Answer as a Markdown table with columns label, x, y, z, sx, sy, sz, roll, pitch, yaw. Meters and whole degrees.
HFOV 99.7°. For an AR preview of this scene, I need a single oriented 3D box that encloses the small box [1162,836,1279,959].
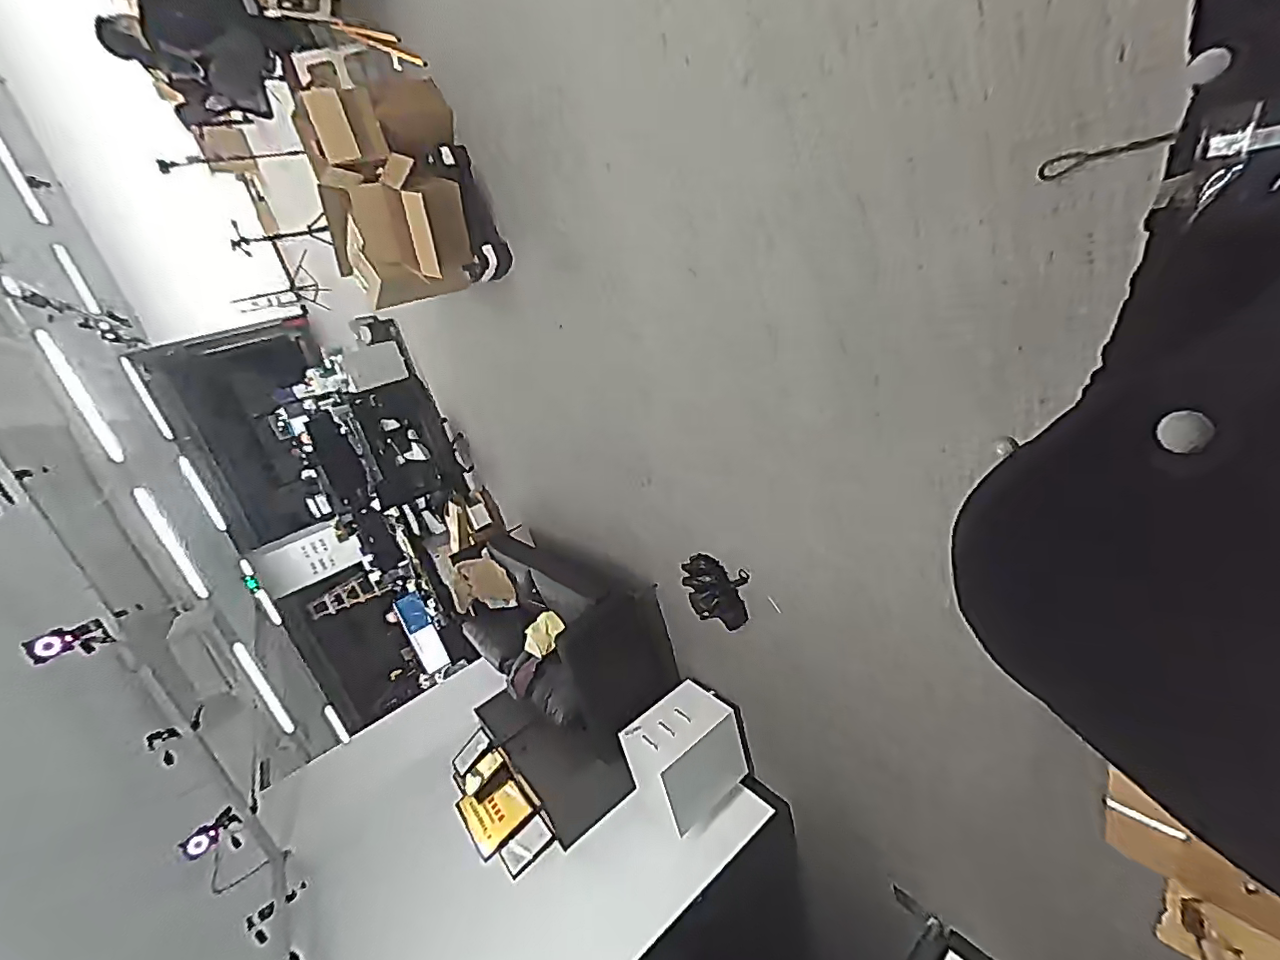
| label | x | y | z | sx | sy | sz | roll | pitch | yaw |
| --- | --- | --- | --- | --- | --- | --- | --- | --- | --- |
| small box | 1.133 | 0.813 | 1.010 | 0.179 | 0.176 | 0.168 | 20 | 126 | 51 |
